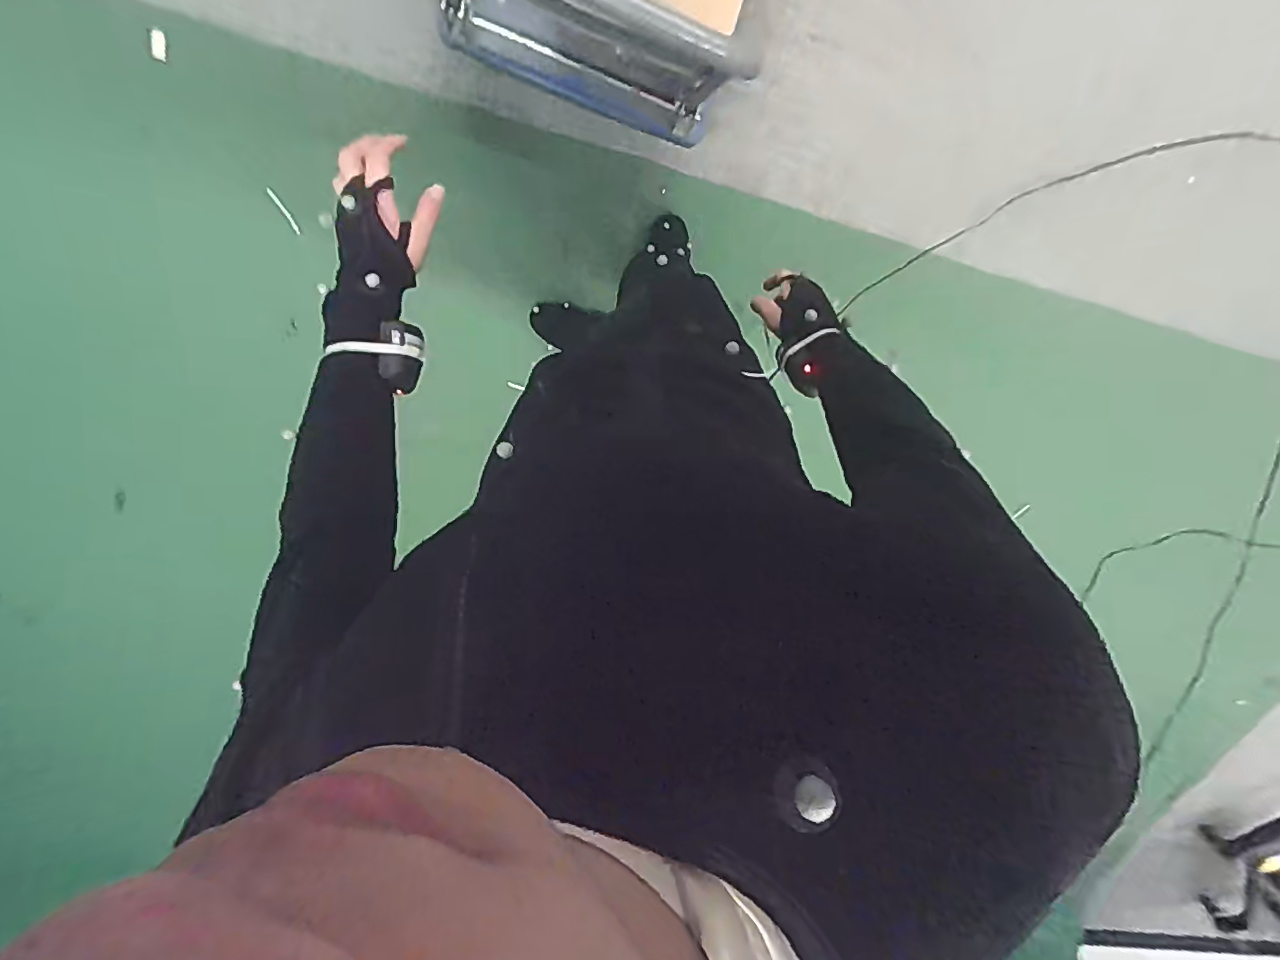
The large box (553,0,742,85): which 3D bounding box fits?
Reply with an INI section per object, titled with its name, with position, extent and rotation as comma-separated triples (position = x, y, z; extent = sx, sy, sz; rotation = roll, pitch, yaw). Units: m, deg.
[large box]
position = 0.044, -0.978, 0.907
extent = 0.320, 0.320, 0.408
rotation = 15, 112, -12
